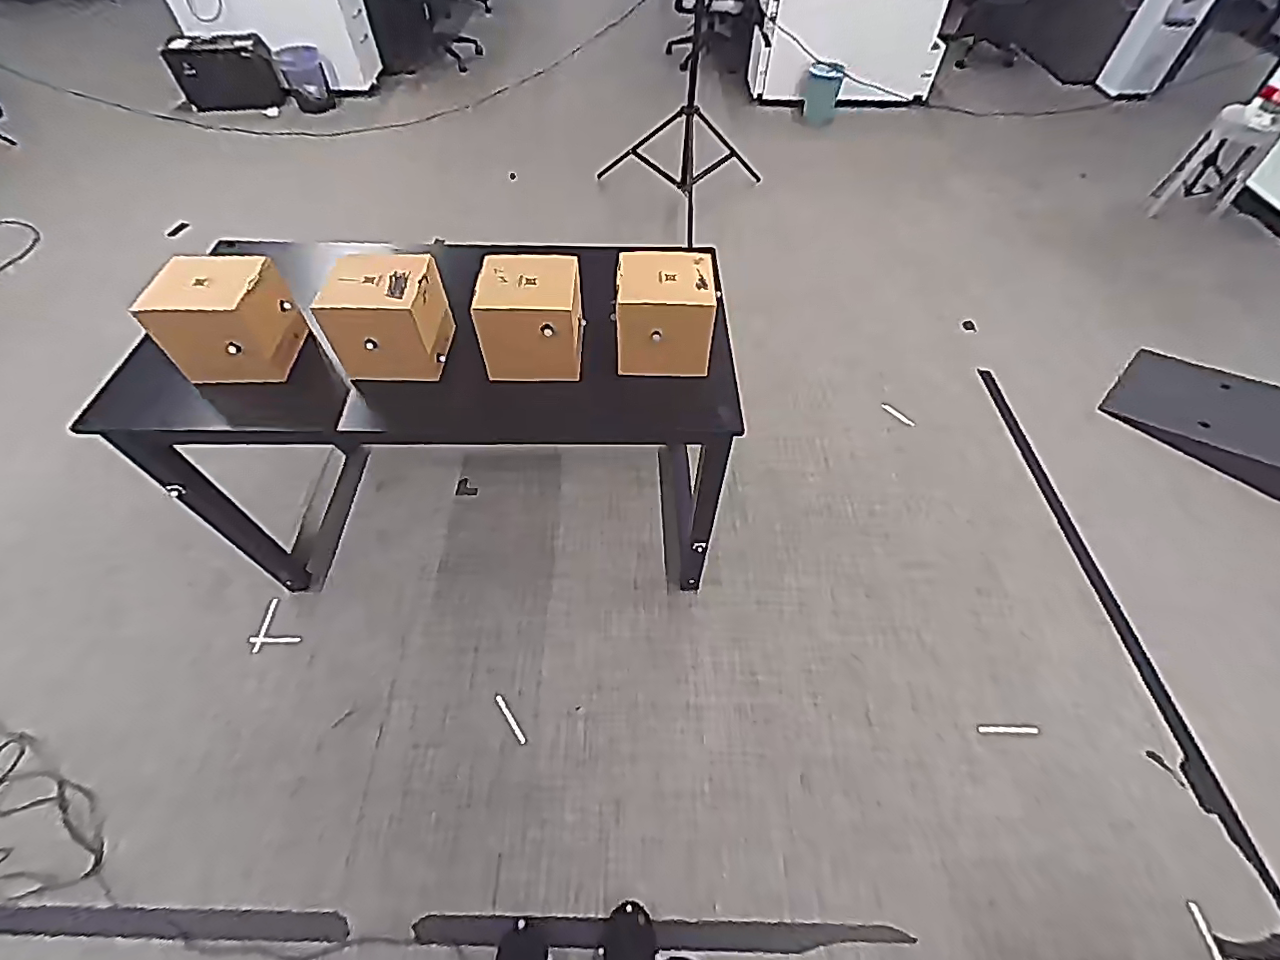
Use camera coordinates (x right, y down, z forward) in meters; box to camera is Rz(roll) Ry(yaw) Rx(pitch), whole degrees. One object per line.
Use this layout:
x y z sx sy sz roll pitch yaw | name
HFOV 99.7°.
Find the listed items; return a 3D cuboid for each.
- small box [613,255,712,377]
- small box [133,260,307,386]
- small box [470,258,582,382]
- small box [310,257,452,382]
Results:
0.042 -0.314 1.049 0.179 0.176 0.168 0 54 1 | small box
-0.771 -0.292 1.021 0.179 0.176 0.168 -2 53 -2 | small box
-0.206 -0.302 1.036 0.179 0.176 0.168 -1 53 -1 | small box
-0.476 -0.301 1.031 0.179 0.176 0.168 0 54 0 | small box
